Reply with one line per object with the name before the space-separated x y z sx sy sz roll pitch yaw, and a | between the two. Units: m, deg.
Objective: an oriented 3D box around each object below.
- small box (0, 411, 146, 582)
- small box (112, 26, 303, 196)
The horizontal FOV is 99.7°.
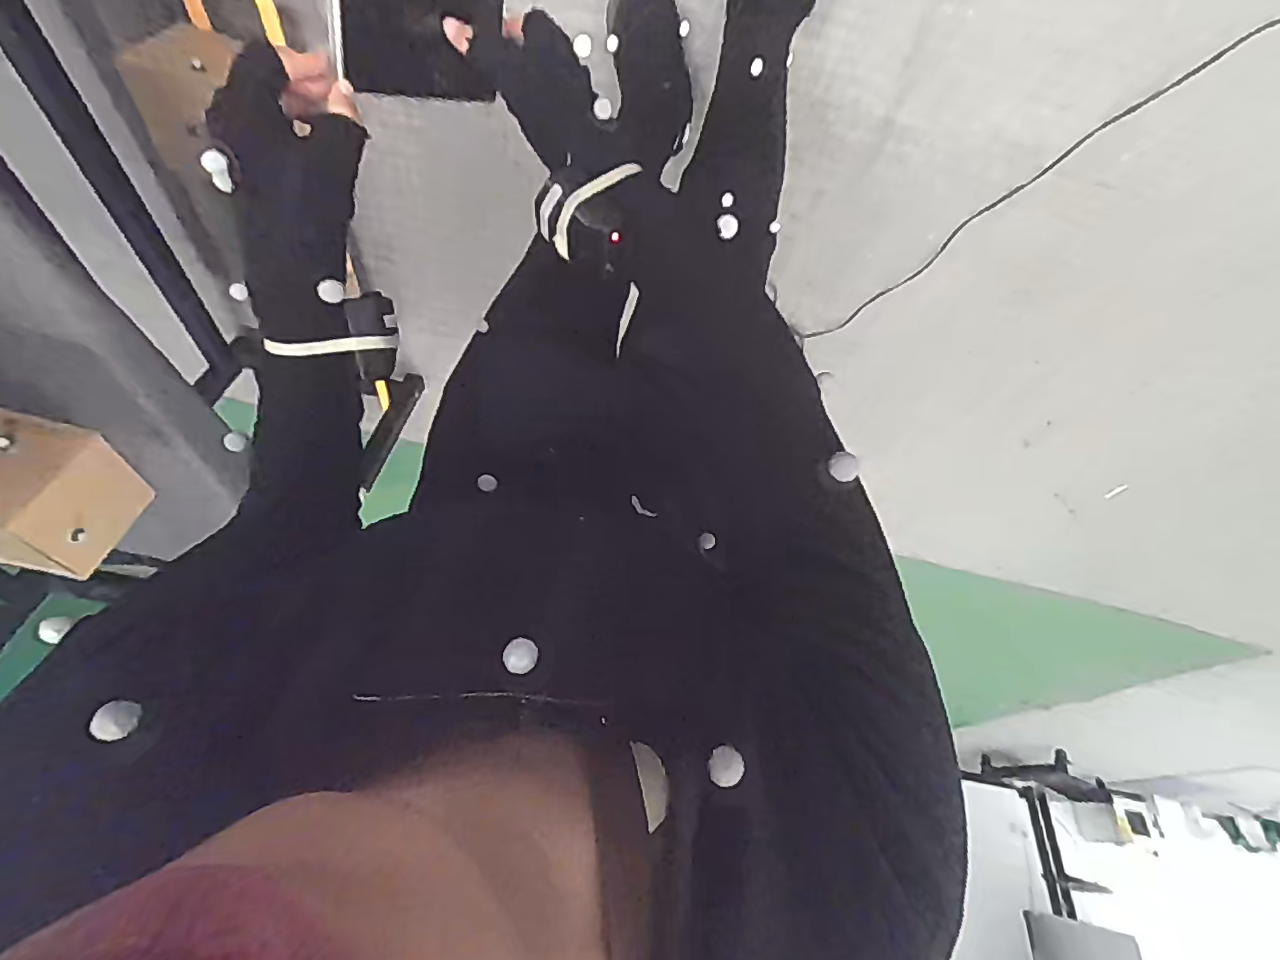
small box | -0.892 0.024 0.788 0.168 0.176 0.179 14 145 -6
small box | -0.705 -0.625 0.916 0.179 0.176 0.168 14 144 -6
